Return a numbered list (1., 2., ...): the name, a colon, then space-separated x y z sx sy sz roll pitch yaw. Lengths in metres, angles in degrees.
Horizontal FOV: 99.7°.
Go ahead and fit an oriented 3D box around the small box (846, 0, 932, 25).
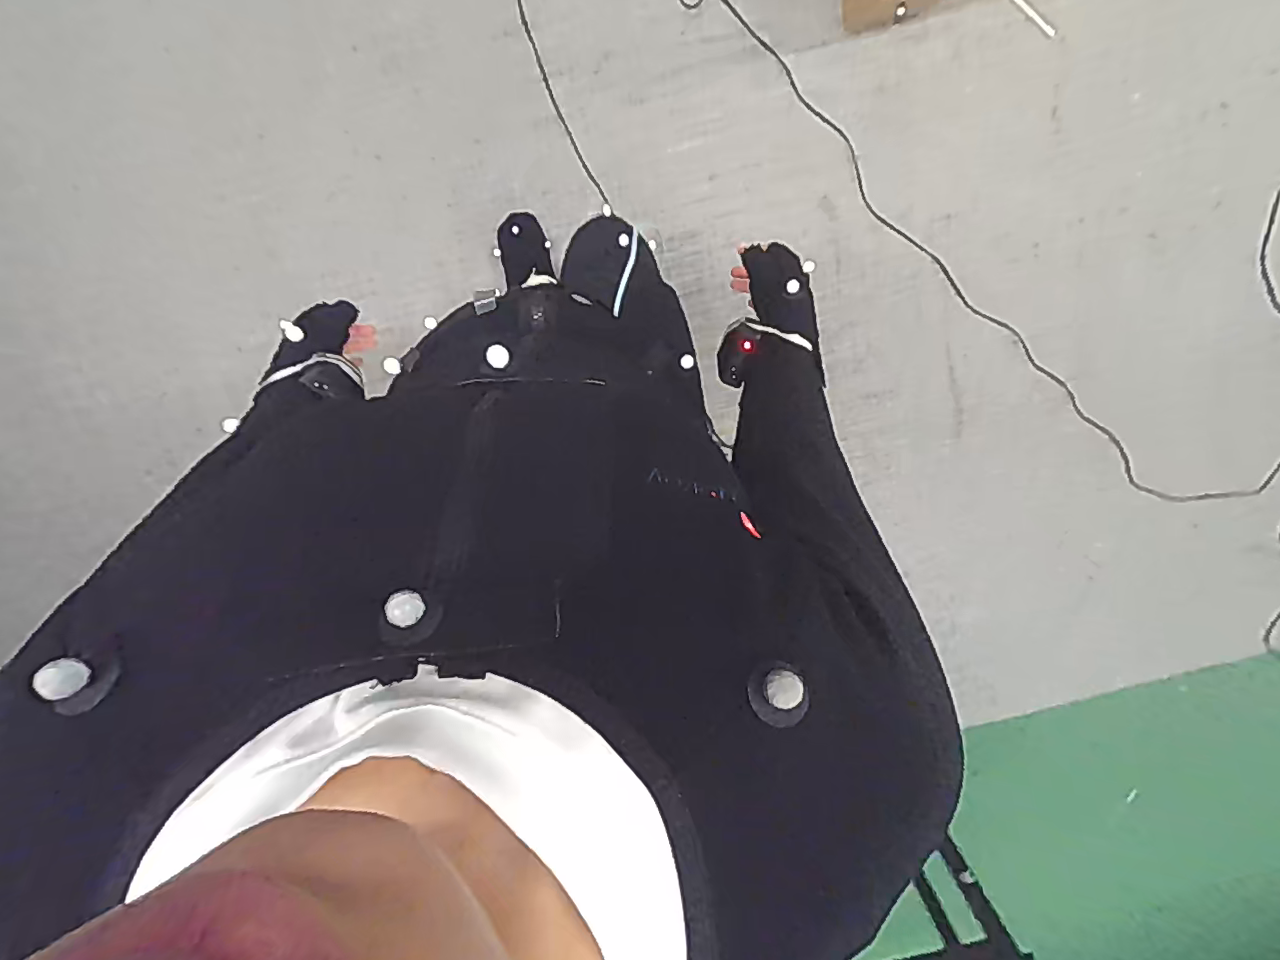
1. small box: 0.509 -1.020 1.043 0.179 0.176 0.168 -13 115 1
